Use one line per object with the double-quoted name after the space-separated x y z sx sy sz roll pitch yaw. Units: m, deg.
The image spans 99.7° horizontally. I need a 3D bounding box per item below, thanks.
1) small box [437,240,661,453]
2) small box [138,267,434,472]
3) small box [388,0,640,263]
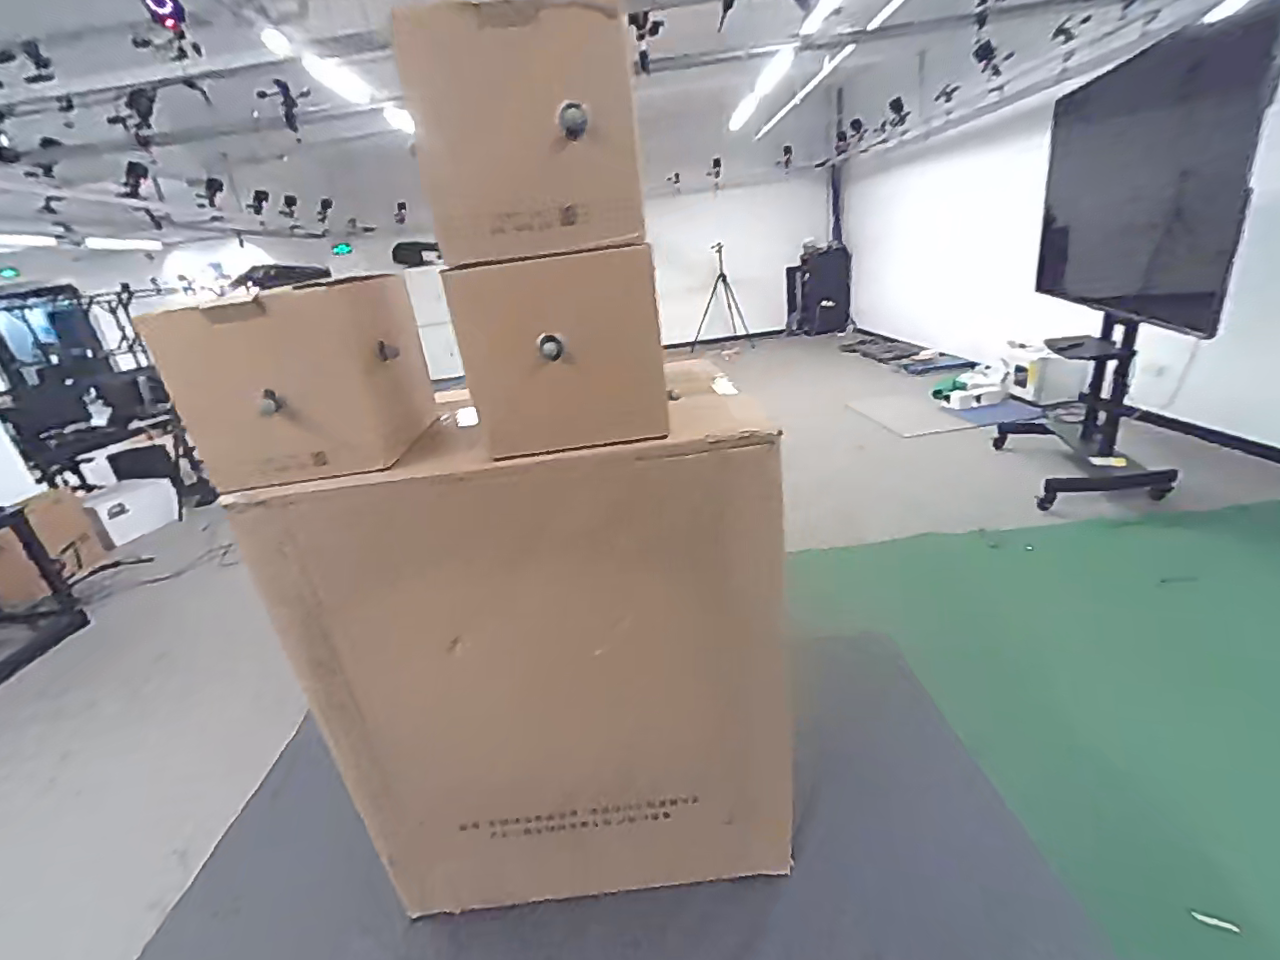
-0.073 -0.138 0.539 0.179 0.176 0.168 -7 24 0 "small box"
-0.332 -0.114 0.556 0.168 0.176 0.179 -7 25 0 "small box"
-0.094 -0.287 0.481 0.168 0.176 0.179 -7 23 -4 "small box"
